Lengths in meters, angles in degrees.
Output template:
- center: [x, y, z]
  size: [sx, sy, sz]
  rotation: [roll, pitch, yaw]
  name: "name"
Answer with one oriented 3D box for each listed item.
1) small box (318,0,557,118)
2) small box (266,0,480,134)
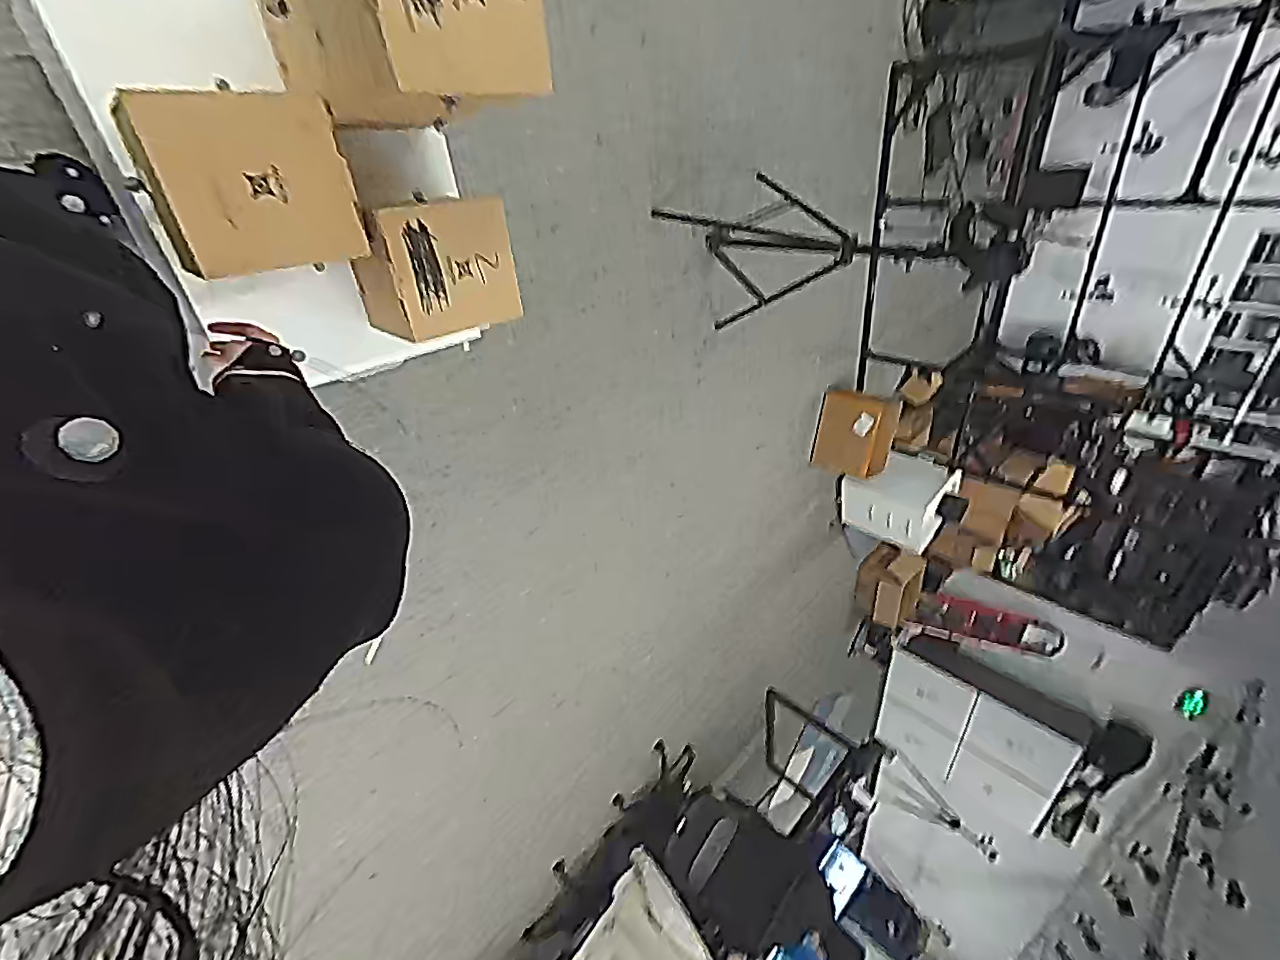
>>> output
- center: [-0.211, -0.471, 0.543]
  size: [0.179, 0.176, 0.168]
  rotation: [-29, 128, -35]
  name: "small box"
- center: [-0.324, -0.522, 0.652]
  size: [0.179, 0.176, 0.168]
  rotation: [-27, 128, -35]
  name: "small box"
